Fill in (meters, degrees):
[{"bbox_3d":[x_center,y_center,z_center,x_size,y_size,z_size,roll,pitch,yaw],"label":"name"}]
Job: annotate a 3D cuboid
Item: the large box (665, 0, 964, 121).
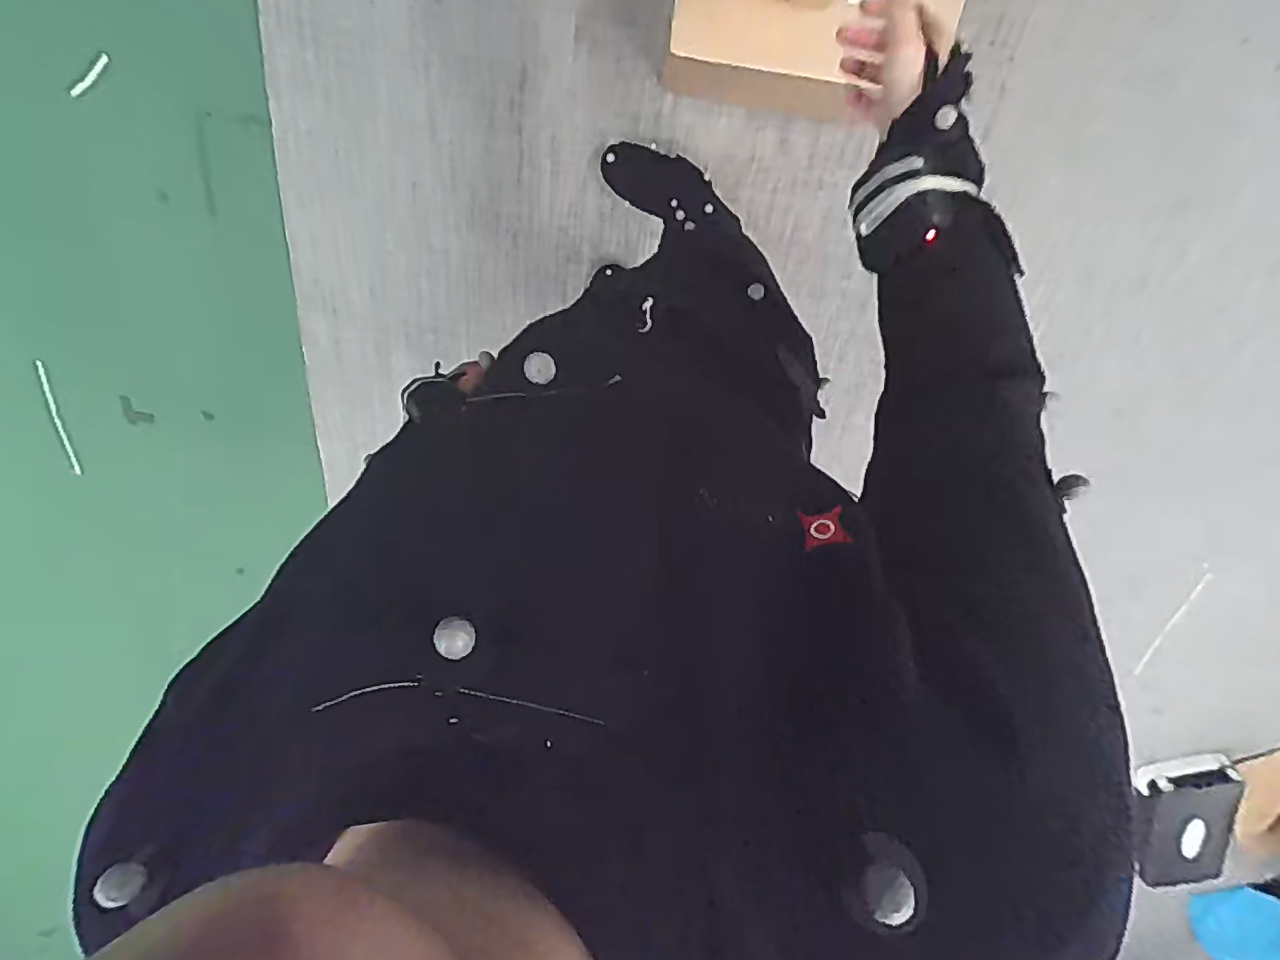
[{"bbox_3d":[0.261,-0.796,0.858,0.408,0.320,0.320,6,118,-4],"label":"large box"}]
